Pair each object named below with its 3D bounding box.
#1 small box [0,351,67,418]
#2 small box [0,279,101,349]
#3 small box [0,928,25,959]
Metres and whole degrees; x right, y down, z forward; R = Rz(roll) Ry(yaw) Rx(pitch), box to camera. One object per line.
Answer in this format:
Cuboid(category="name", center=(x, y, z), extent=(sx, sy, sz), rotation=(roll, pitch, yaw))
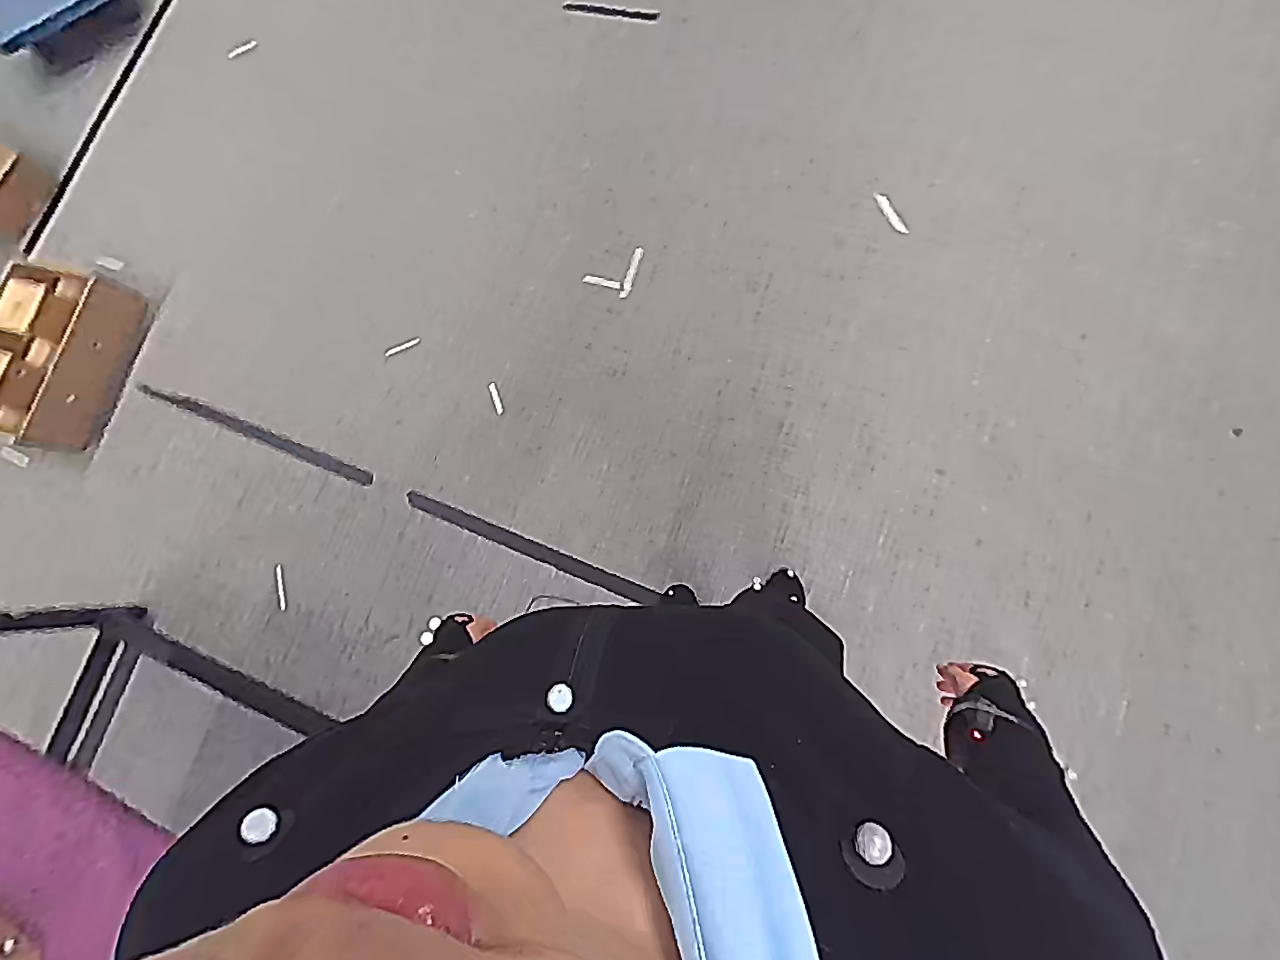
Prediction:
Cuboid(category="small box", center=(-2.158, -0.335, 1.869), extent=(0.168, 0.176, 0.179), rotation=(13, 80, 13))
Cuboid(category="small box", center=(-2.085, -0.581, 1.907), extent=(0.179, 0.176, 0.168), rotation=(15, 83, 12))
Cuboid(category="small box", center=(-1.047, 0.765, 0.766), extent=(0.168, 0.176, 0.179), rotation=(19, 83, 13))
